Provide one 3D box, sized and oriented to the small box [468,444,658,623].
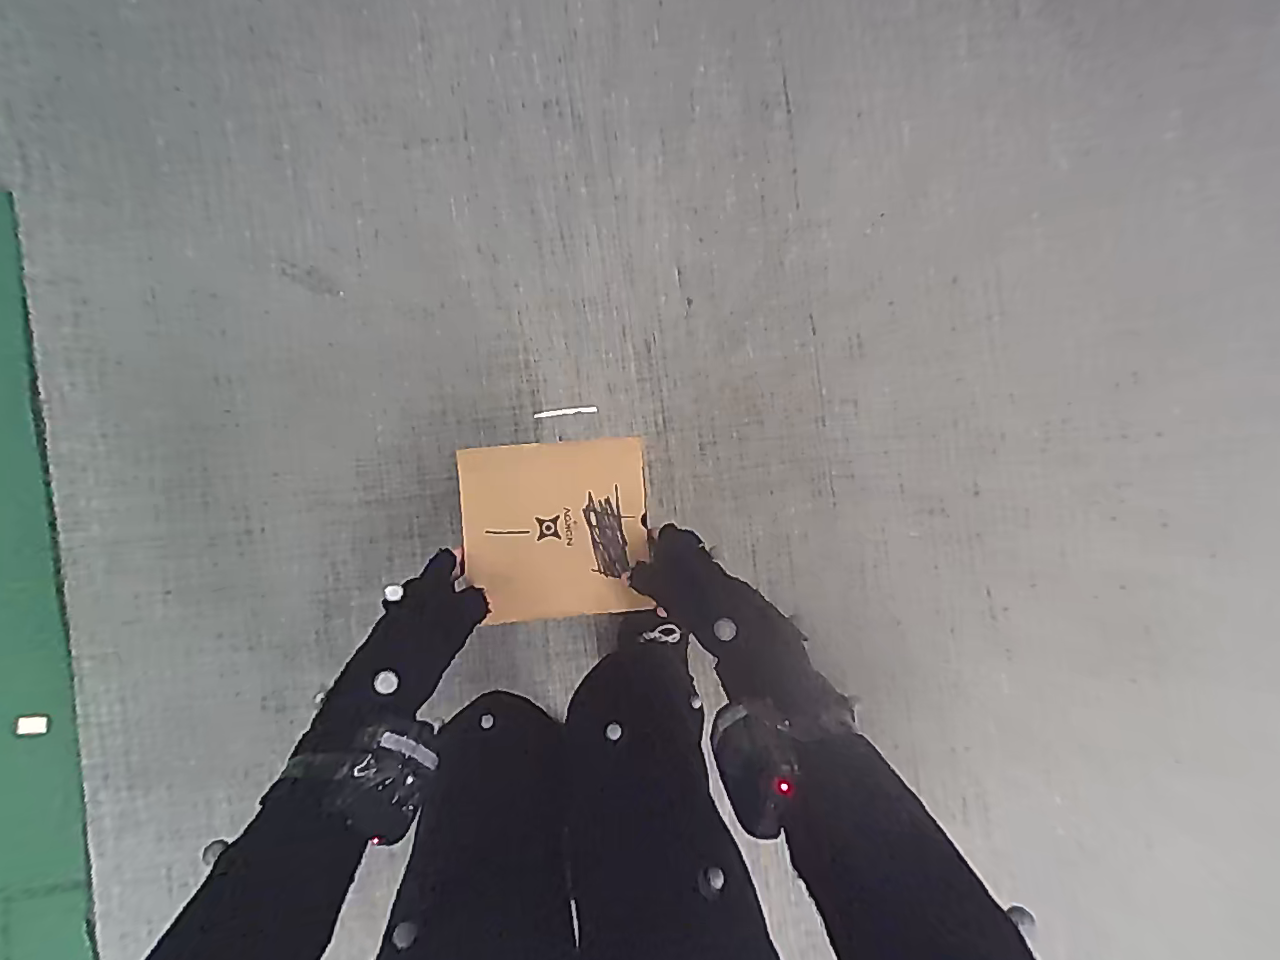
[{"bbox_3d":[-0.081,0.054,0.598,0.179,0.176,0.168,-4,86,-5],"label":"small box"}]
